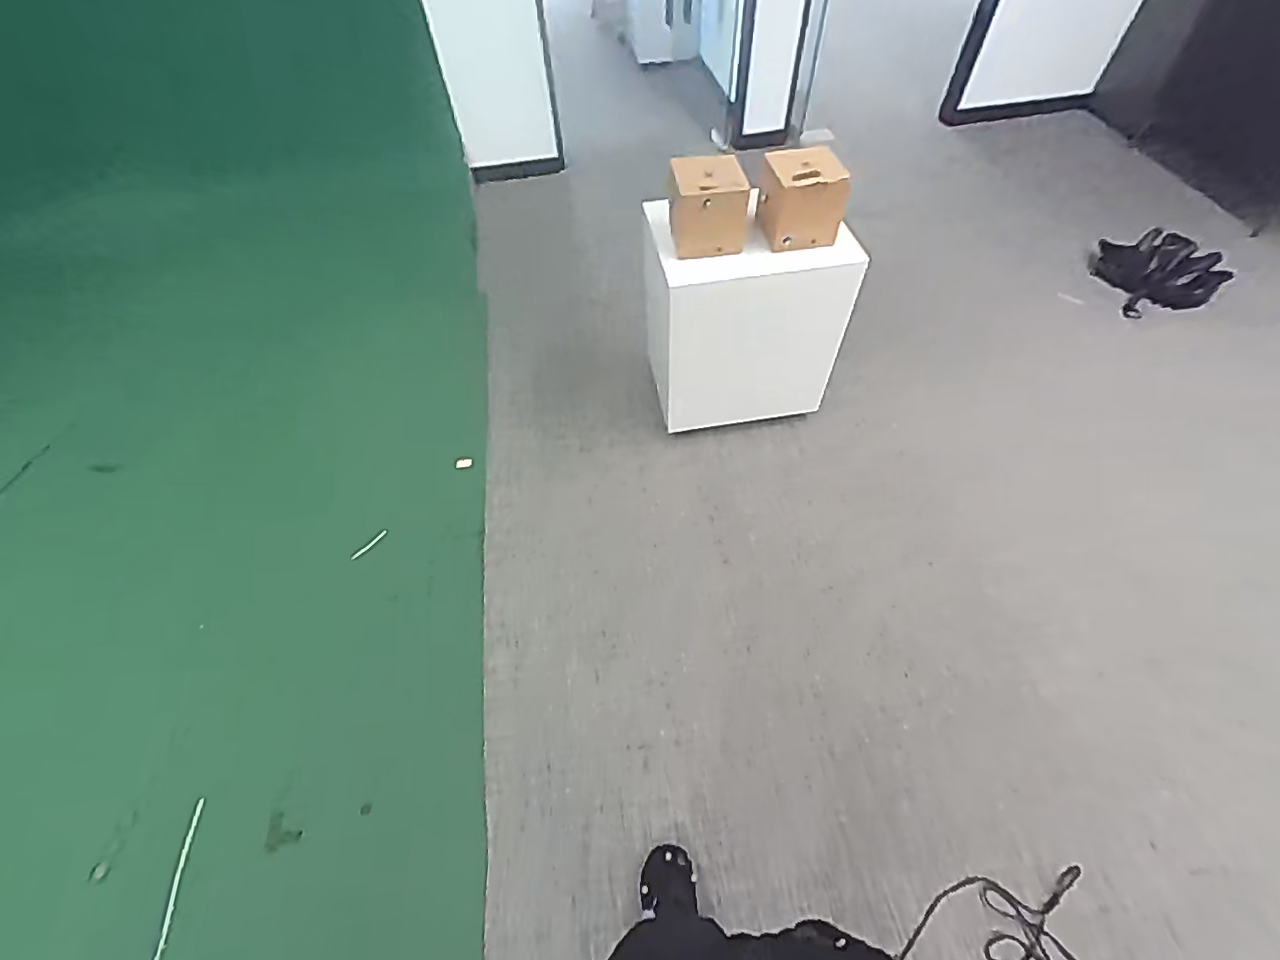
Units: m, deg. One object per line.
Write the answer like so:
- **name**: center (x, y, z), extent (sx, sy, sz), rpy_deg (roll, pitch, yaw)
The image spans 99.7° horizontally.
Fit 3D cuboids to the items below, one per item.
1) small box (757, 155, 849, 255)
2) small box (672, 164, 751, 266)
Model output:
- **small box**: center (0.405, -0.690, 1.373), extent (0.168, 0.176, 0.179), rpy_deg (-8, 54, -3)
- **small box**: center (0.172, -0.669, 1.369), extent (0.168, 0.176, 0.179), rpy_deg (-7, 54, -2)
